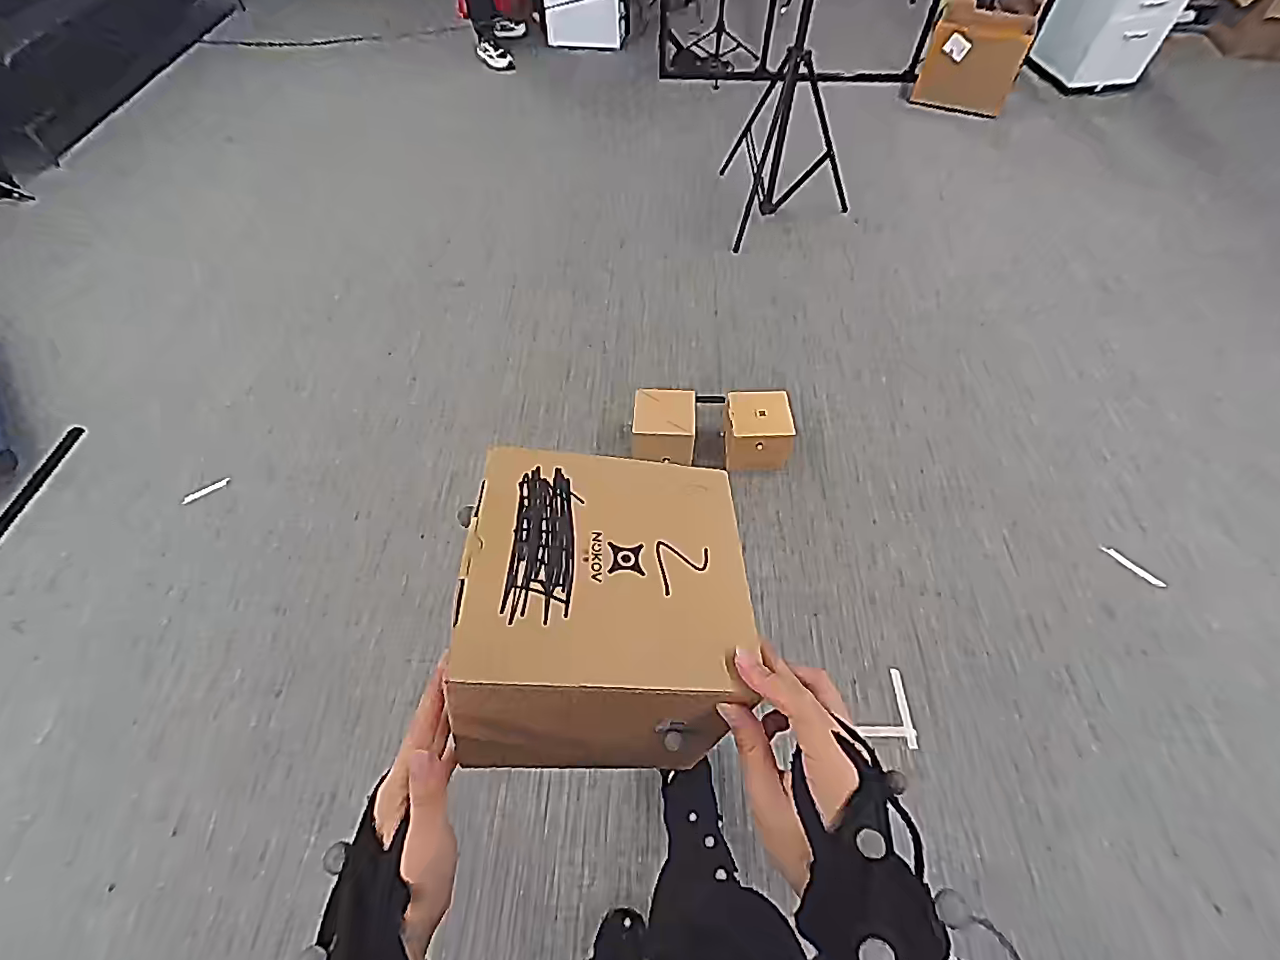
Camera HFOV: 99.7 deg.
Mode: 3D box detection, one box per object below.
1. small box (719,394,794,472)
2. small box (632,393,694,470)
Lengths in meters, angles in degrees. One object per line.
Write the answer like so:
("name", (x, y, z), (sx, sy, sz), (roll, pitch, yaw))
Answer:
("small box", (0.338, -0.137, 1.605), (0.179, 0.176, 0.168), (-2, 56, -1))
("small box", (0.069, -0.144, 1.606), (0.179, 0.176, 0.168), (3, 57, 1))
